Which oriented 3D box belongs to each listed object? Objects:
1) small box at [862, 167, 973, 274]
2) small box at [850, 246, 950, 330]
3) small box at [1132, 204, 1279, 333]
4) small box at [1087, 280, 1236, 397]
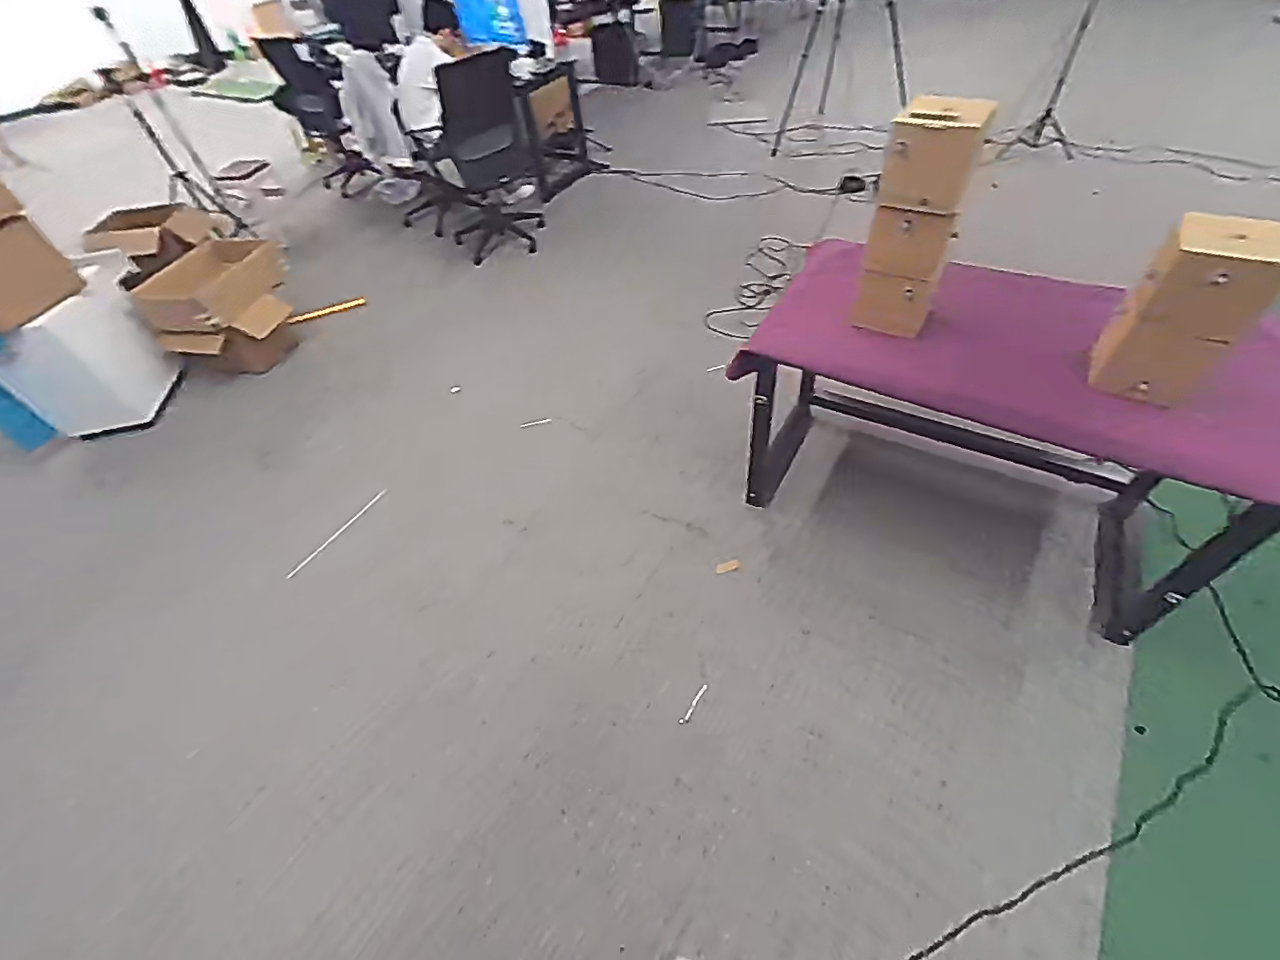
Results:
[{"bbox_3d":[0.659,-0.620,1.298,0.179,0.176,0.168,22,57,25],"label":"small box"},{"bbox_3d":[0.678,-0.518,1.423,0.179,0.176,0.168,23,56,24],"label":"small box"},{"bbox_3d":[1.112,-0.411,1.055,0.179,0.176,0.168,23,57,25],"label":"small box"},{"bbox_3d":[1.129,-0.305,1.179,0.179,0.176,0.168,22,56,24],"label":"small box"}]
